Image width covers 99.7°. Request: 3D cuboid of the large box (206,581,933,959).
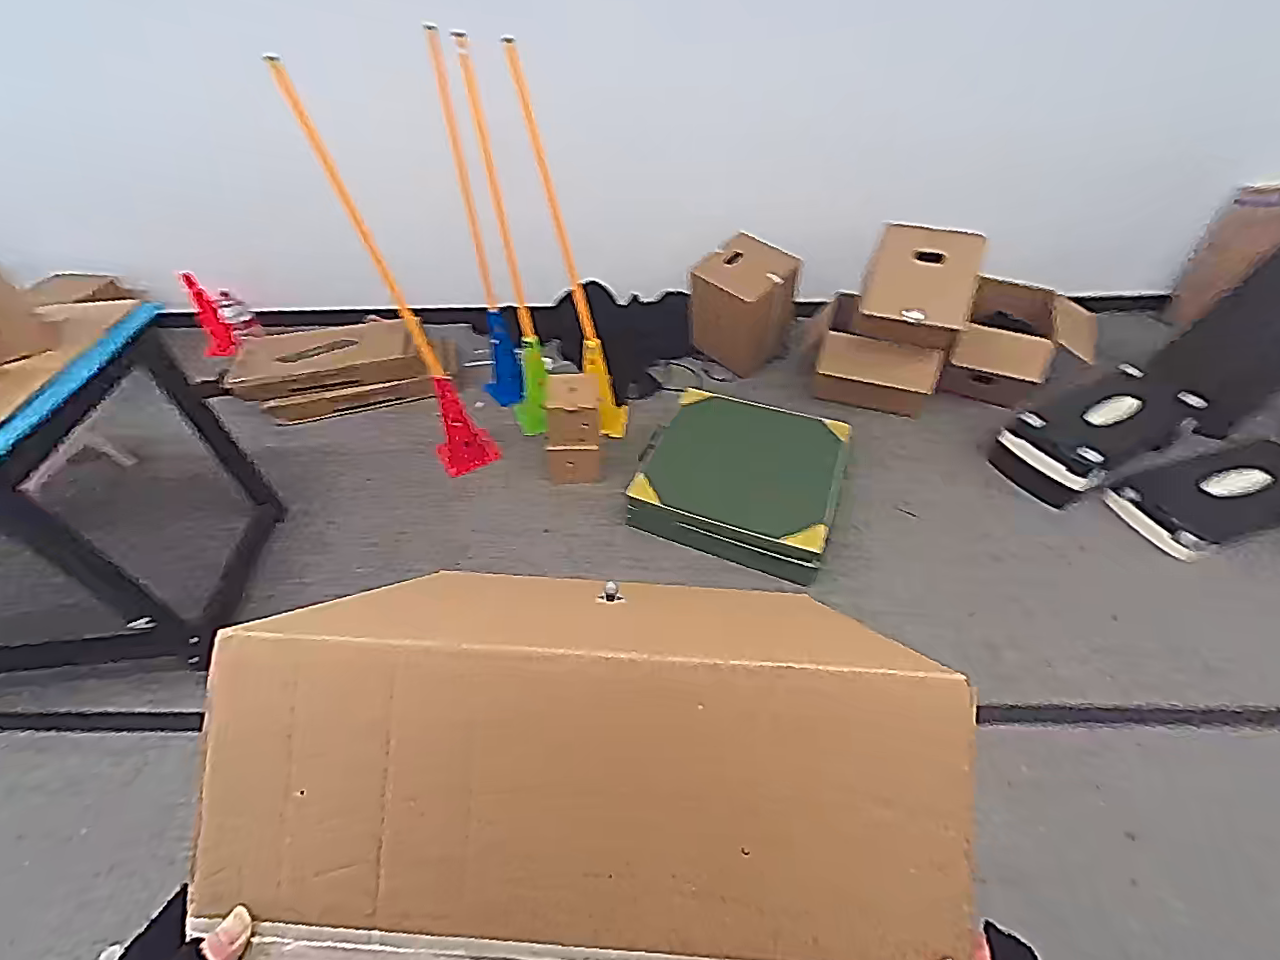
[{"bbox_3d":[-0.036,0.260,0.445,0.408,0.320,0.320,2,86,2],"label":"large box"}]
